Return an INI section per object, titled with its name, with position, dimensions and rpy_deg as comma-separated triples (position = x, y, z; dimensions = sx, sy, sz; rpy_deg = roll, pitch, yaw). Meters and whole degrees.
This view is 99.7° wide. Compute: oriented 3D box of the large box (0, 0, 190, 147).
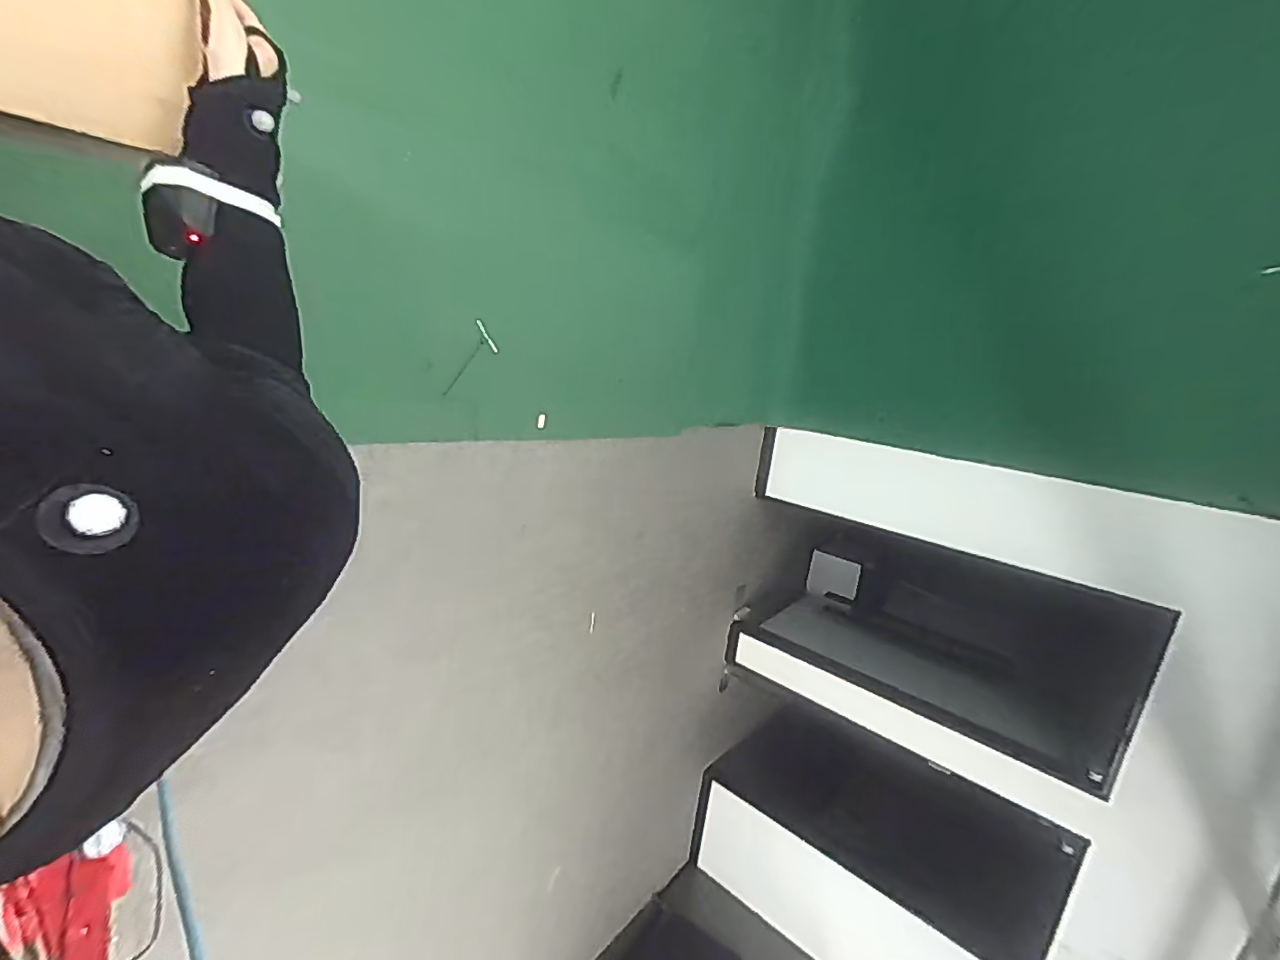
[large box]
position = -0.596, -0.452, 0.342
dimensions = 0.408, 0.320, 0.320
rpy_deg = -15, 122, -55
